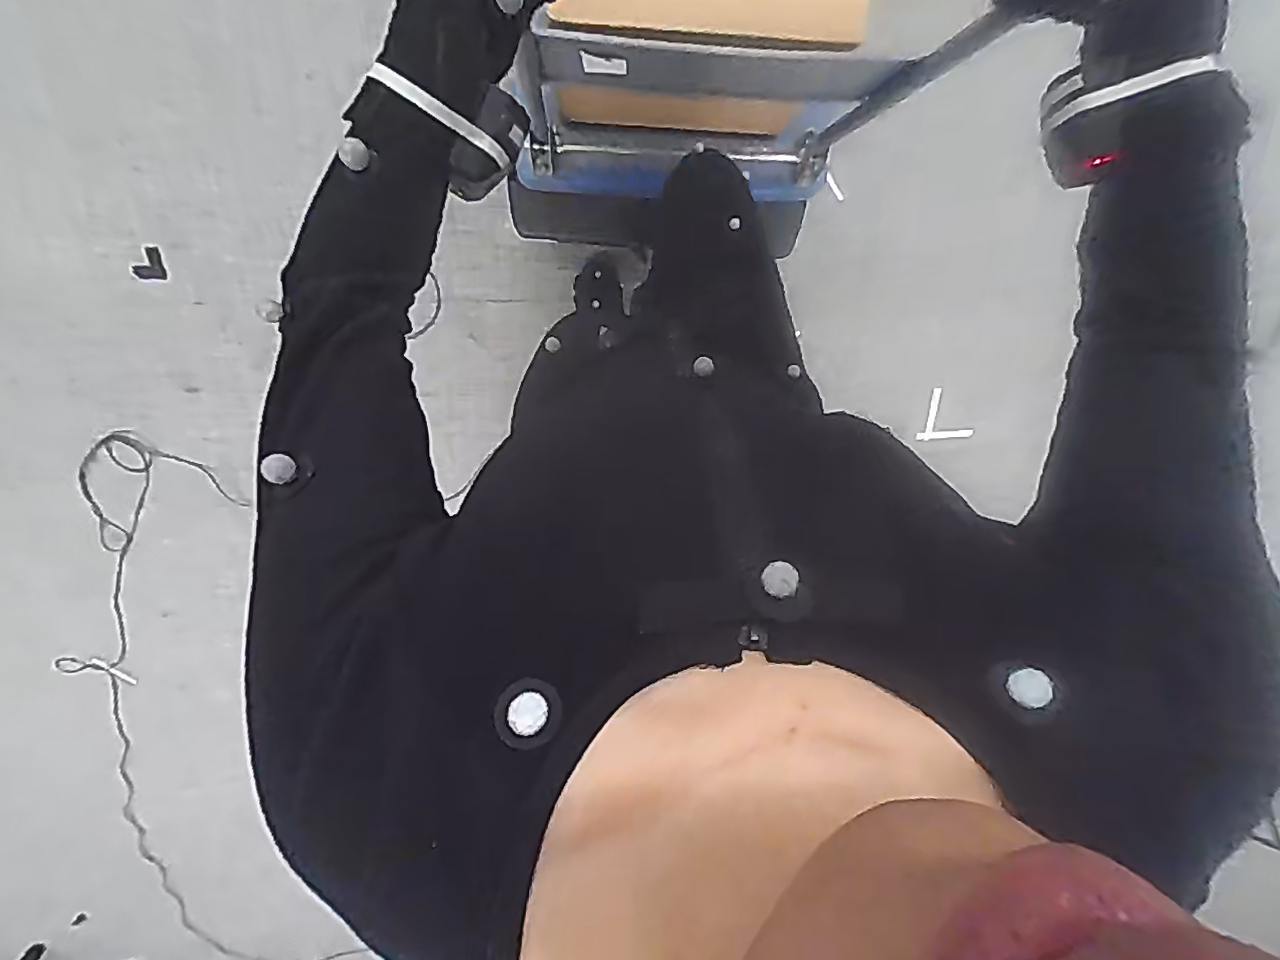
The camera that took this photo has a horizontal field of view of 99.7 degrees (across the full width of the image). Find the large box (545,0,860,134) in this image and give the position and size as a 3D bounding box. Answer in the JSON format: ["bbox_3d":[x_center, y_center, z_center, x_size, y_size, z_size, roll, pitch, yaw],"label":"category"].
[{"bbox_3d":[0.064,-0.734,0.785,0.408,0.320,0.320,-1,104,-7],"label":"large box"}]
